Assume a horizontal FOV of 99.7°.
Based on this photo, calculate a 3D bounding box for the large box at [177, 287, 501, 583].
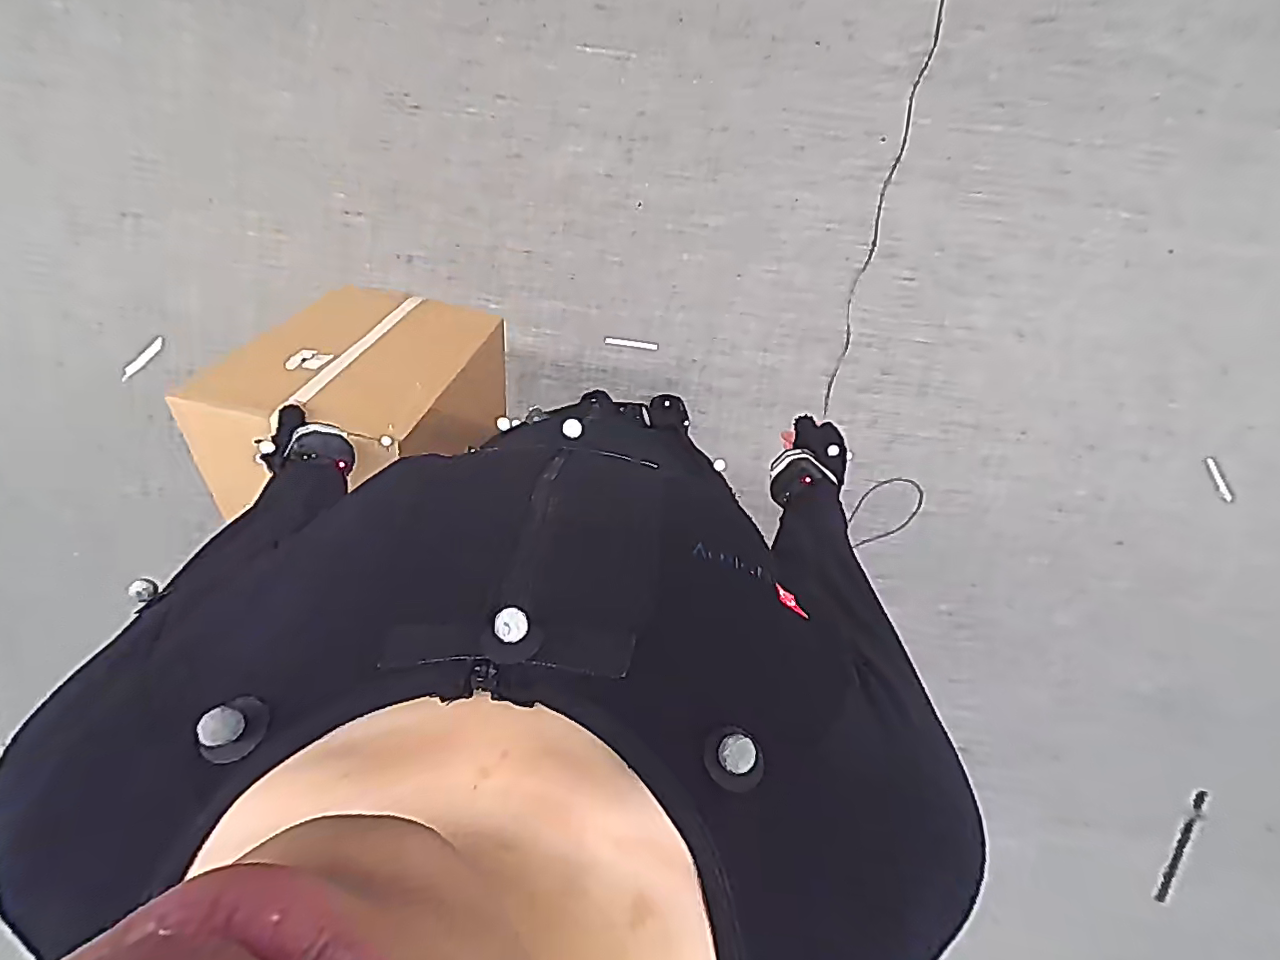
[{"bbox_3d":[-0.458,-0.091,0.956,0.320,0.408,0.320,11,132,2],"label":"large box"}]
